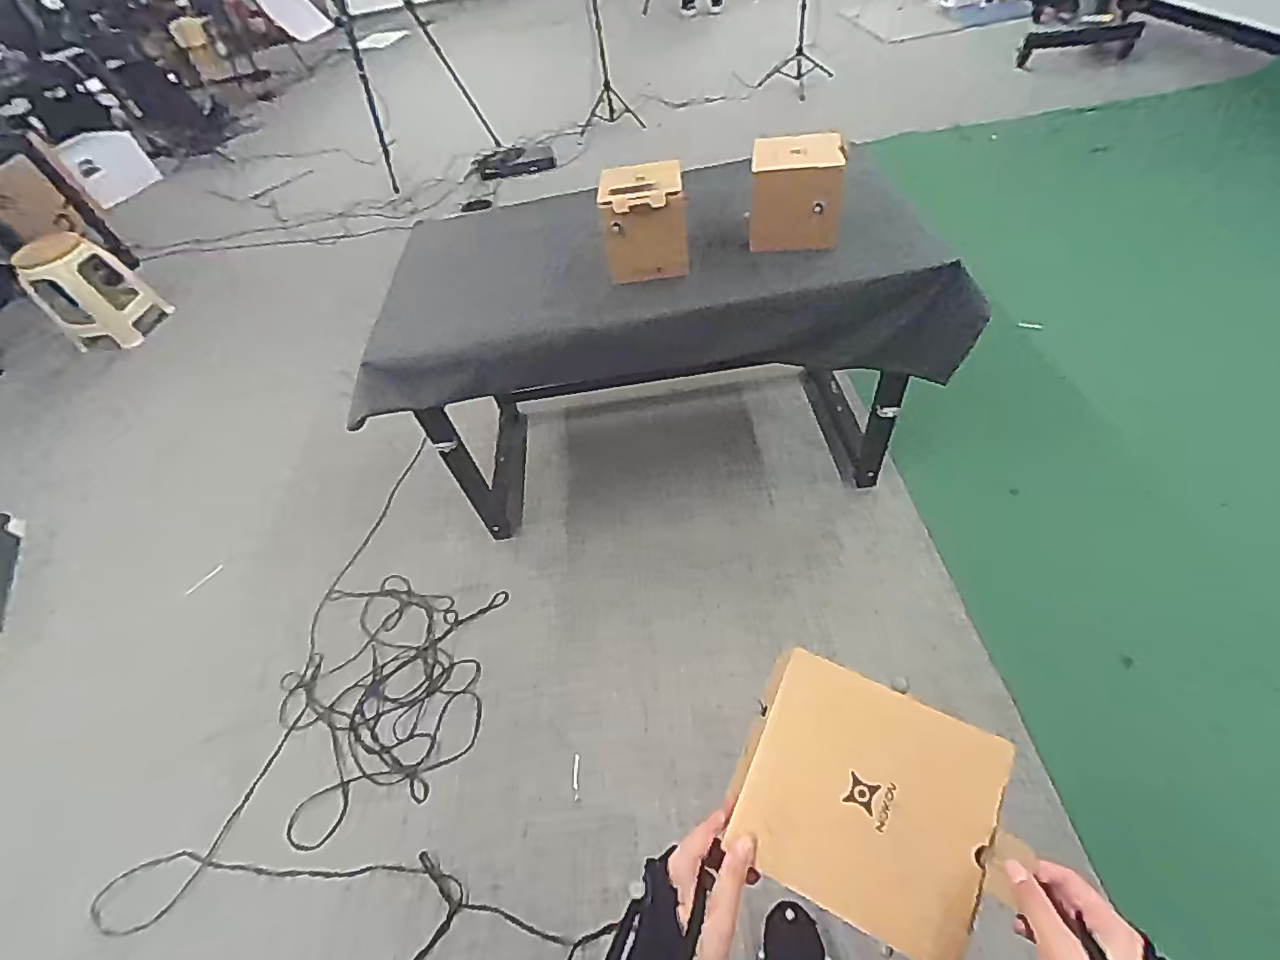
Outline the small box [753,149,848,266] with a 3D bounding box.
[{"bbox_3d":[0.333,-0.572,1.146,0.179,0.176,0.168,2,50,13],"label":"small box"}]
